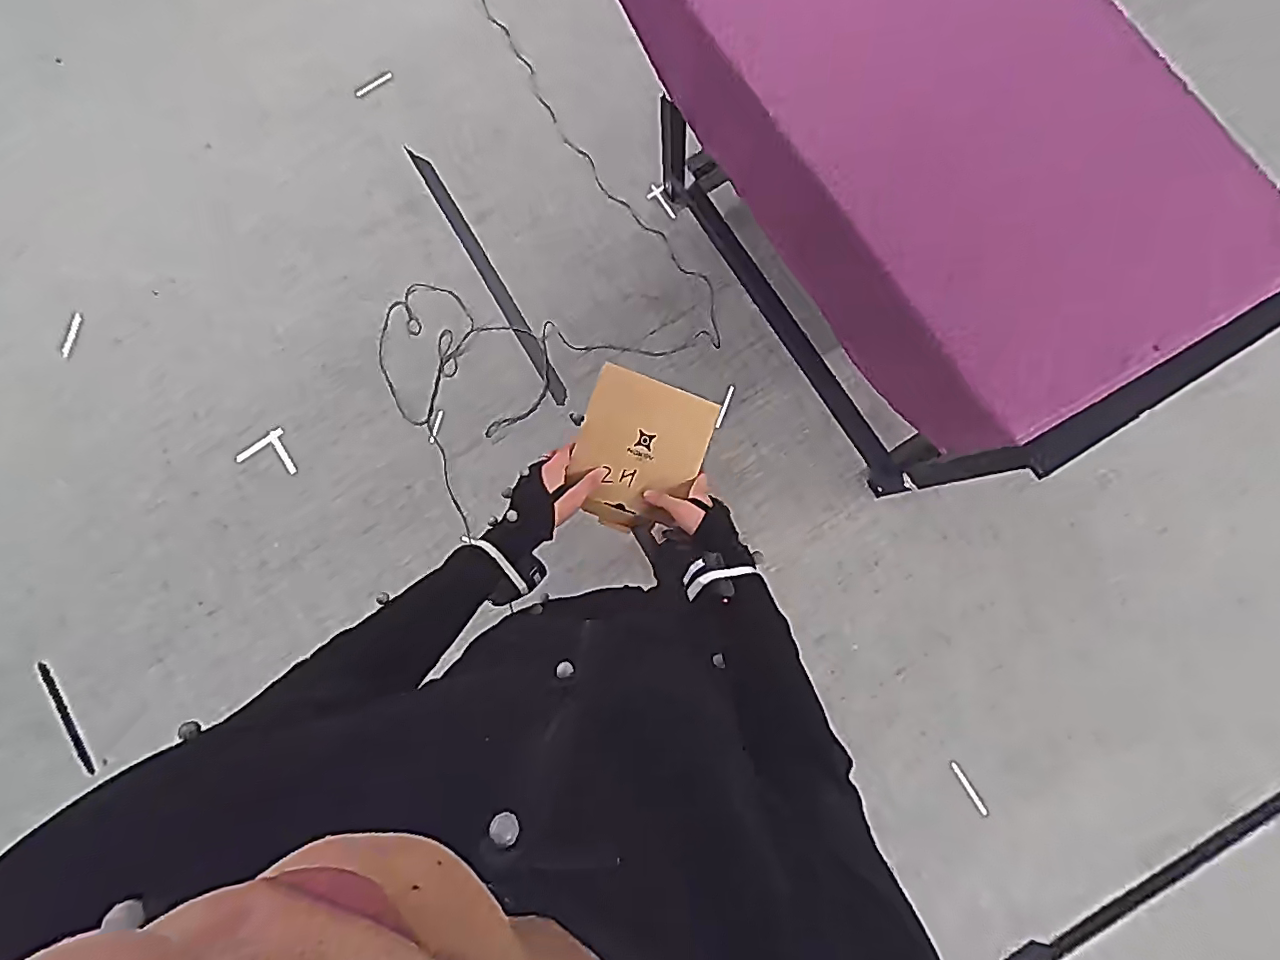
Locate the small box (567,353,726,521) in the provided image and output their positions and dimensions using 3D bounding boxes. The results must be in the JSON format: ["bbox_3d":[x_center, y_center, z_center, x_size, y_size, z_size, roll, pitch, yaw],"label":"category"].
[{"bbox_3d":[-0.001,-0.058,0.774,0.168,0.176,0.179,20,90,-7],"label":"small box"}]
